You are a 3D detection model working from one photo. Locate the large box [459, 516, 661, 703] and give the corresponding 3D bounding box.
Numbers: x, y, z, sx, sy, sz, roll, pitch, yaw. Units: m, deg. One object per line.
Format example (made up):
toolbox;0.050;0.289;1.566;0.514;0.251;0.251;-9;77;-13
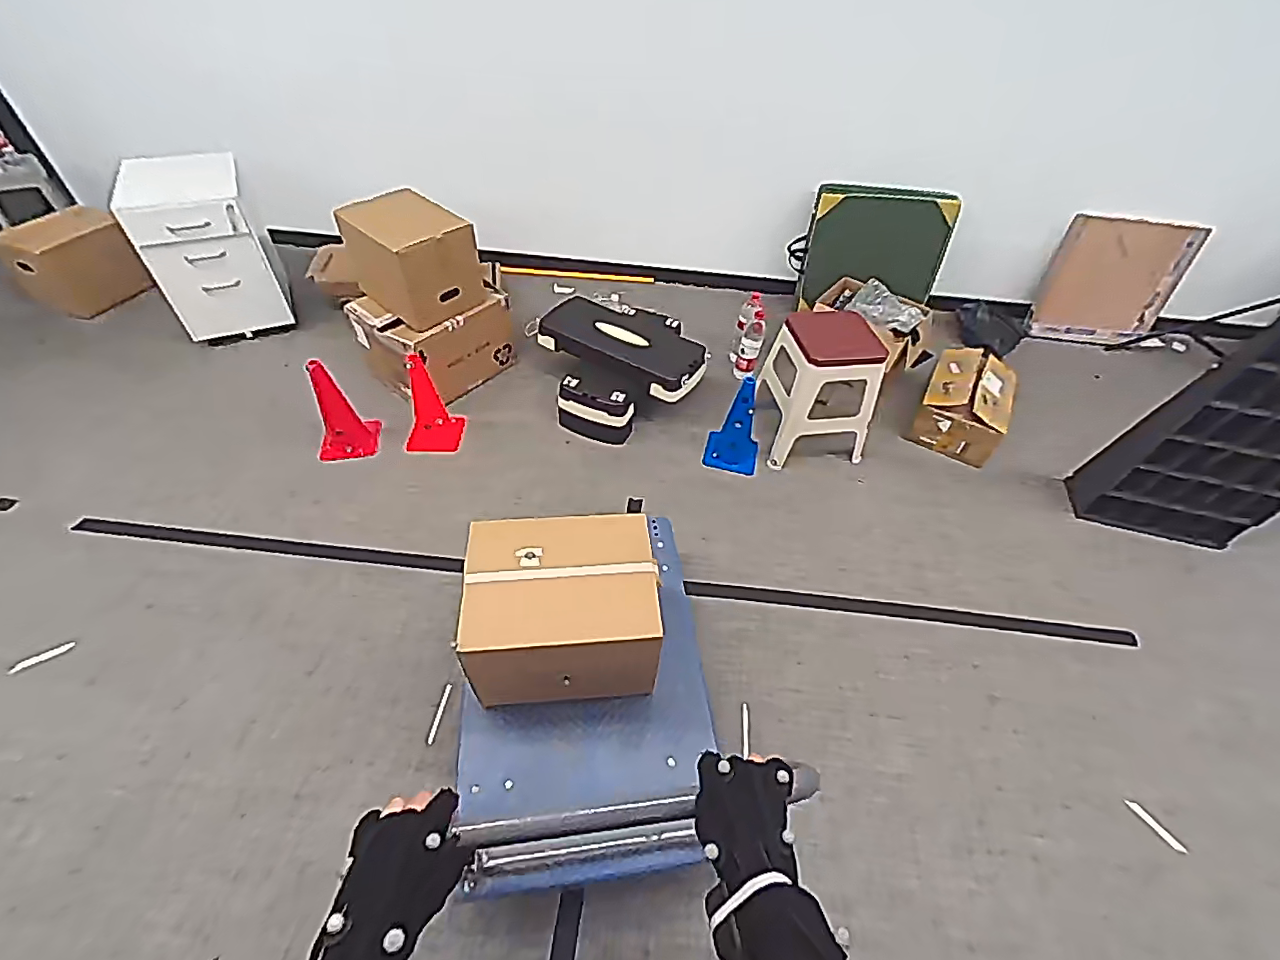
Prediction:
large box;-0.176;0.308;1.276;0.408;0.320;0.320;-3;49;-5
